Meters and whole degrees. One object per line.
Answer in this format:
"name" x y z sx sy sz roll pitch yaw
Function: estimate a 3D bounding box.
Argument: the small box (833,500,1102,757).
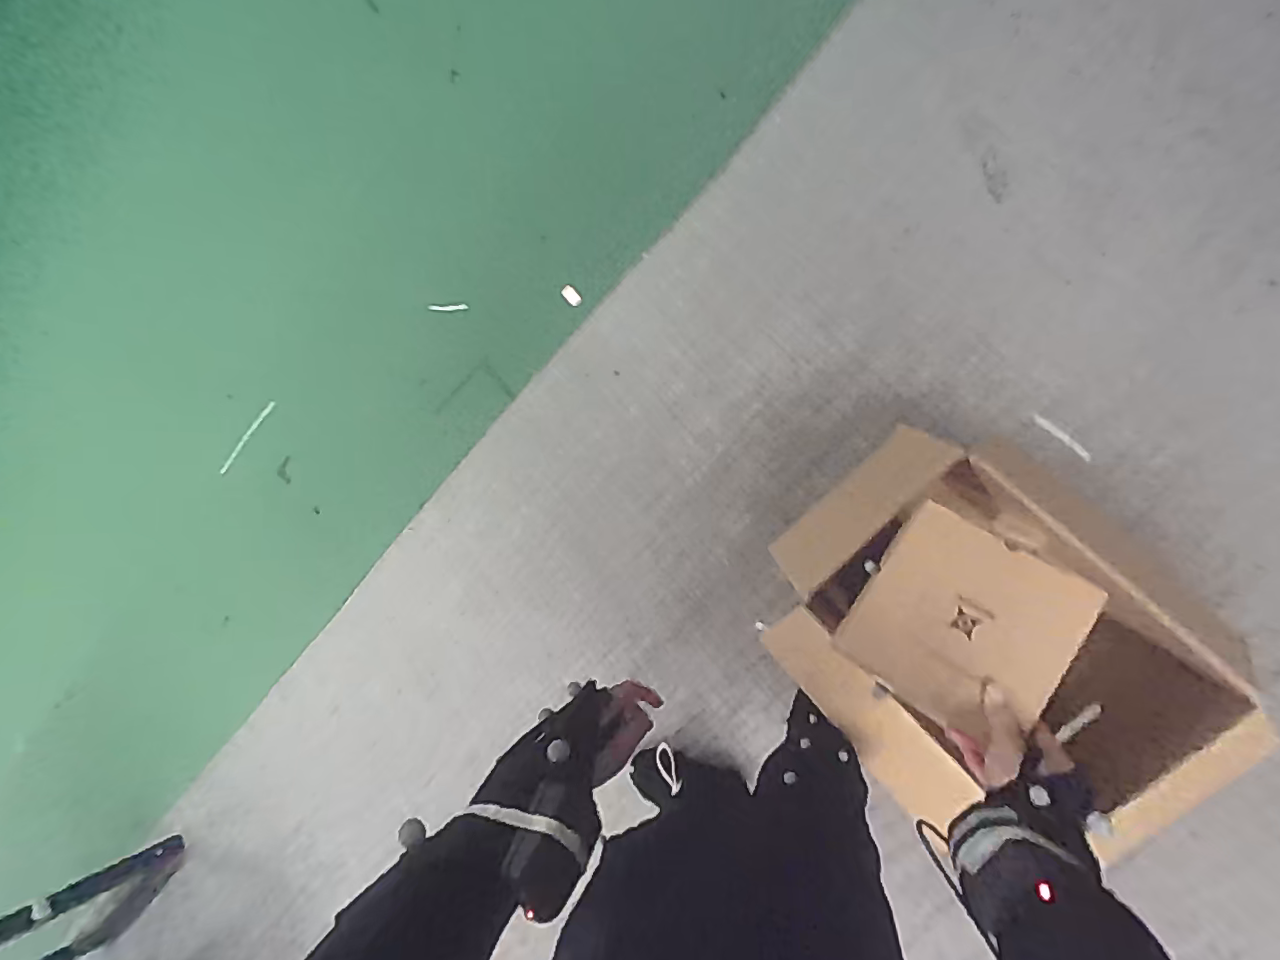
"small box" 0.321 0.152 0.574 0.168 0.176 0.179 32 83 23
